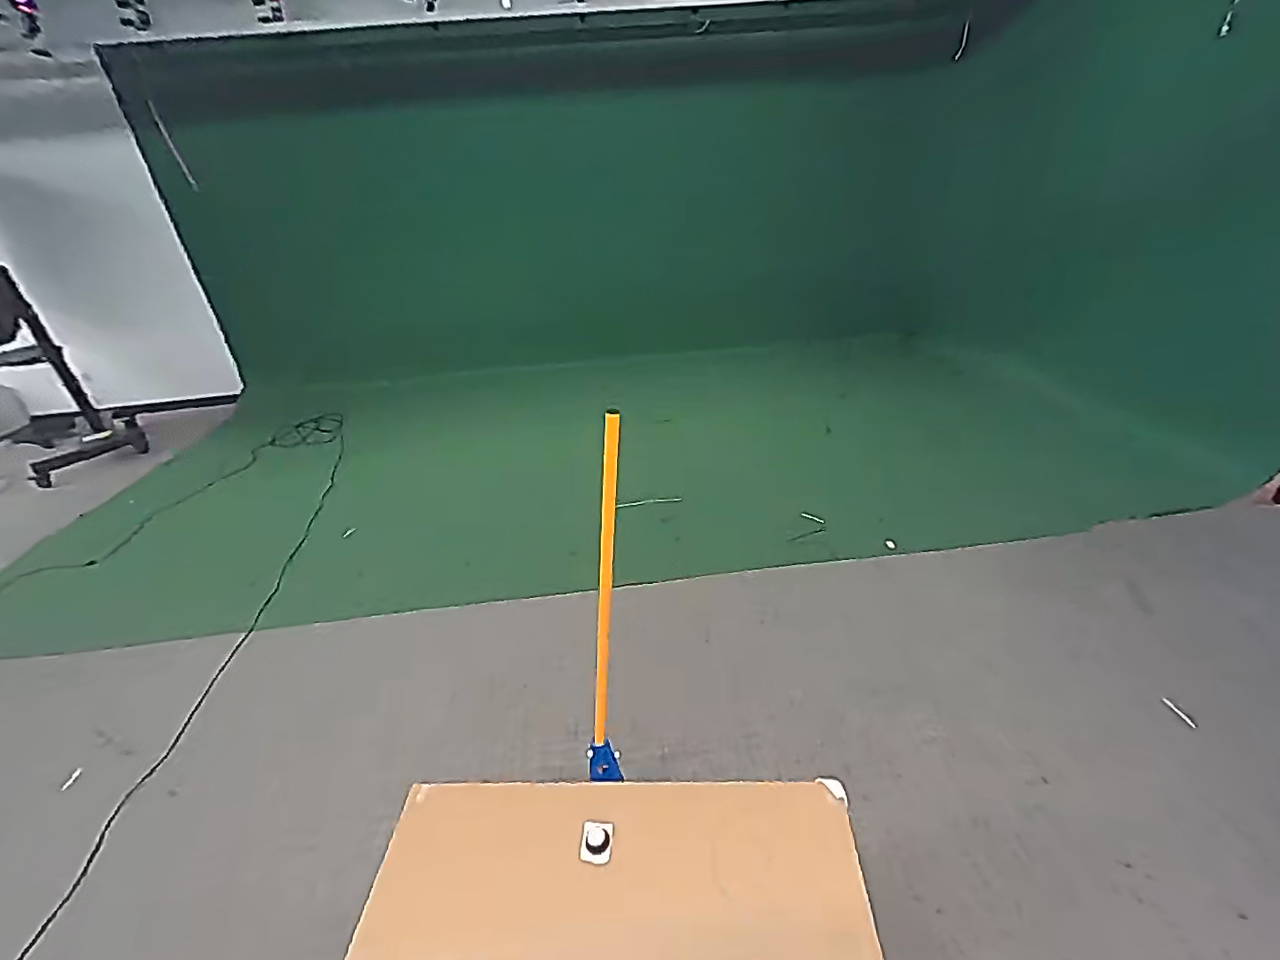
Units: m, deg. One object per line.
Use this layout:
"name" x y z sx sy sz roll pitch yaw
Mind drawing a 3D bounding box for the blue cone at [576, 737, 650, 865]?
"blue cone" -0.083 0.784 1.385 0.193 0.380 0.192 -6 29 -6
